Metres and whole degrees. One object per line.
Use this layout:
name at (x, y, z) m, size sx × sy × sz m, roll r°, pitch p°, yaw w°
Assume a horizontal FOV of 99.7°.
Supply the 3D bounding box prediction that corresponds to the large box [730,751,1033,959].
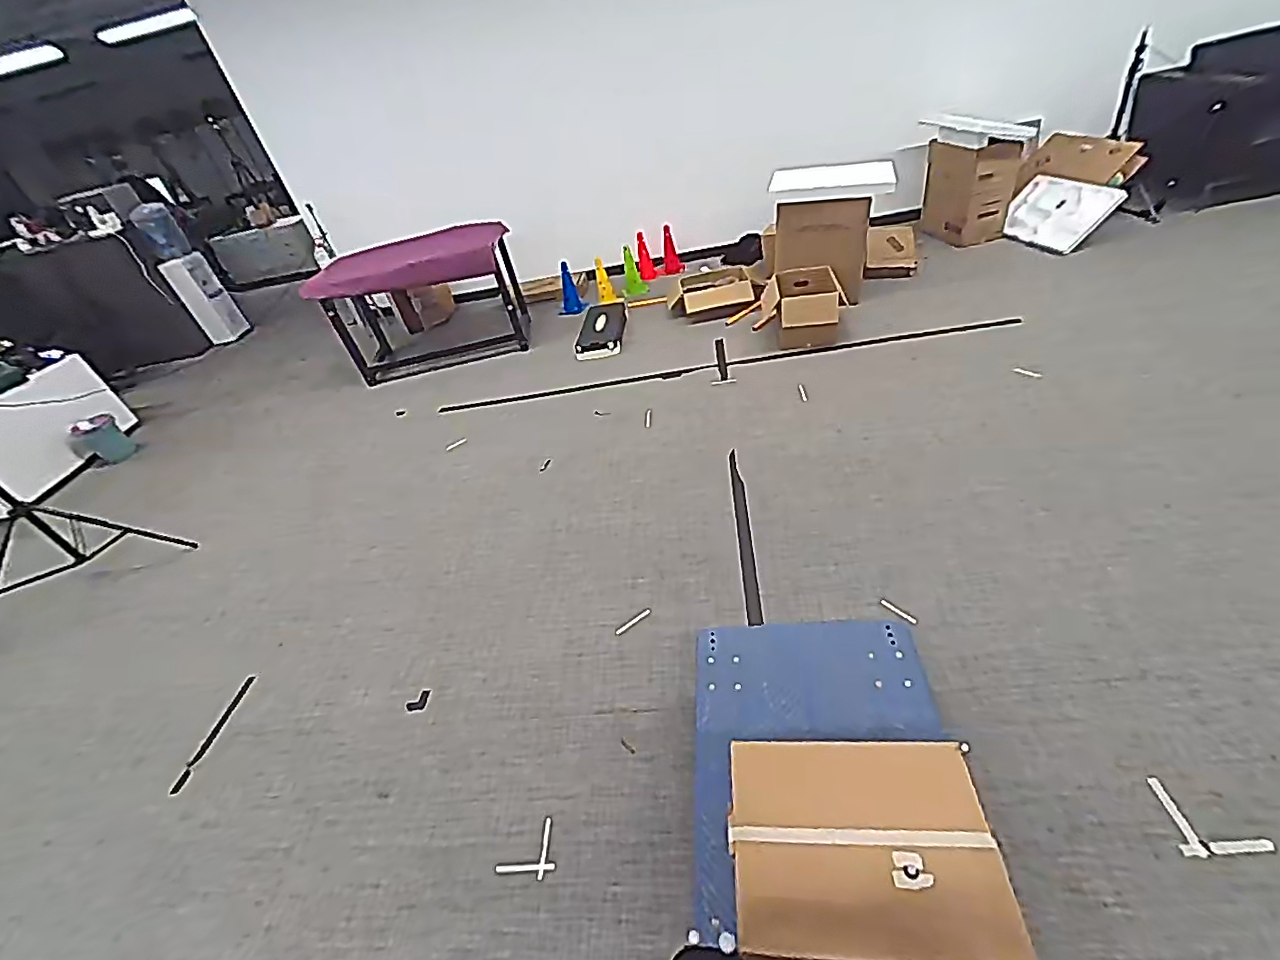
large box at (0.377, 0.709, 0.962) m, size 0.408 × 0.320 × 0.320 m, roll -4°, pitch 40°, yaw 10°
